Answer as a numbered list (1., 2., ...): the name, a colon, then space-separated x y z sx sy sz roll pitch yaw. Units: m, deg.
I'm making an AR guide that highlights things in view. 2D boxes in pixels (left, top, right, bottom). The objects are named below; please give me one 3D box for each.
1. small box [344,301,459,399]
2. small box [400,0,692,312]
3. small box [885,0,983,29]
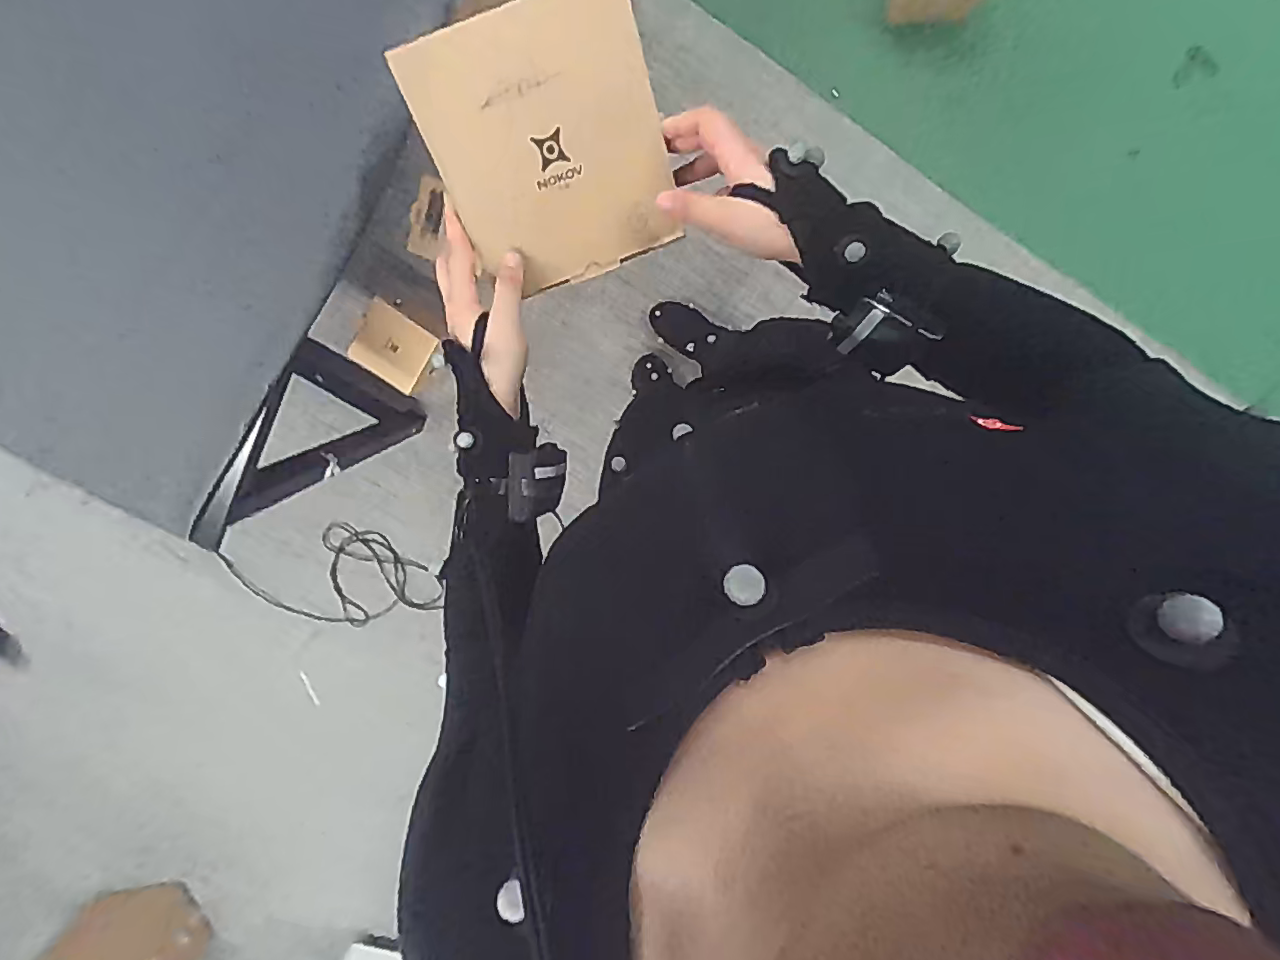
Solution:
1. small box: -0.586 -0.330 1.354 0.179 0.176 0.168 35 106 -7
2. small box: -0.069 -0.272 0.459 0.168 0.176 0.179 -19 124 1
3. small box: 0.603 -1.038 1.066 0.168 0.176 0.179 0 106 3
